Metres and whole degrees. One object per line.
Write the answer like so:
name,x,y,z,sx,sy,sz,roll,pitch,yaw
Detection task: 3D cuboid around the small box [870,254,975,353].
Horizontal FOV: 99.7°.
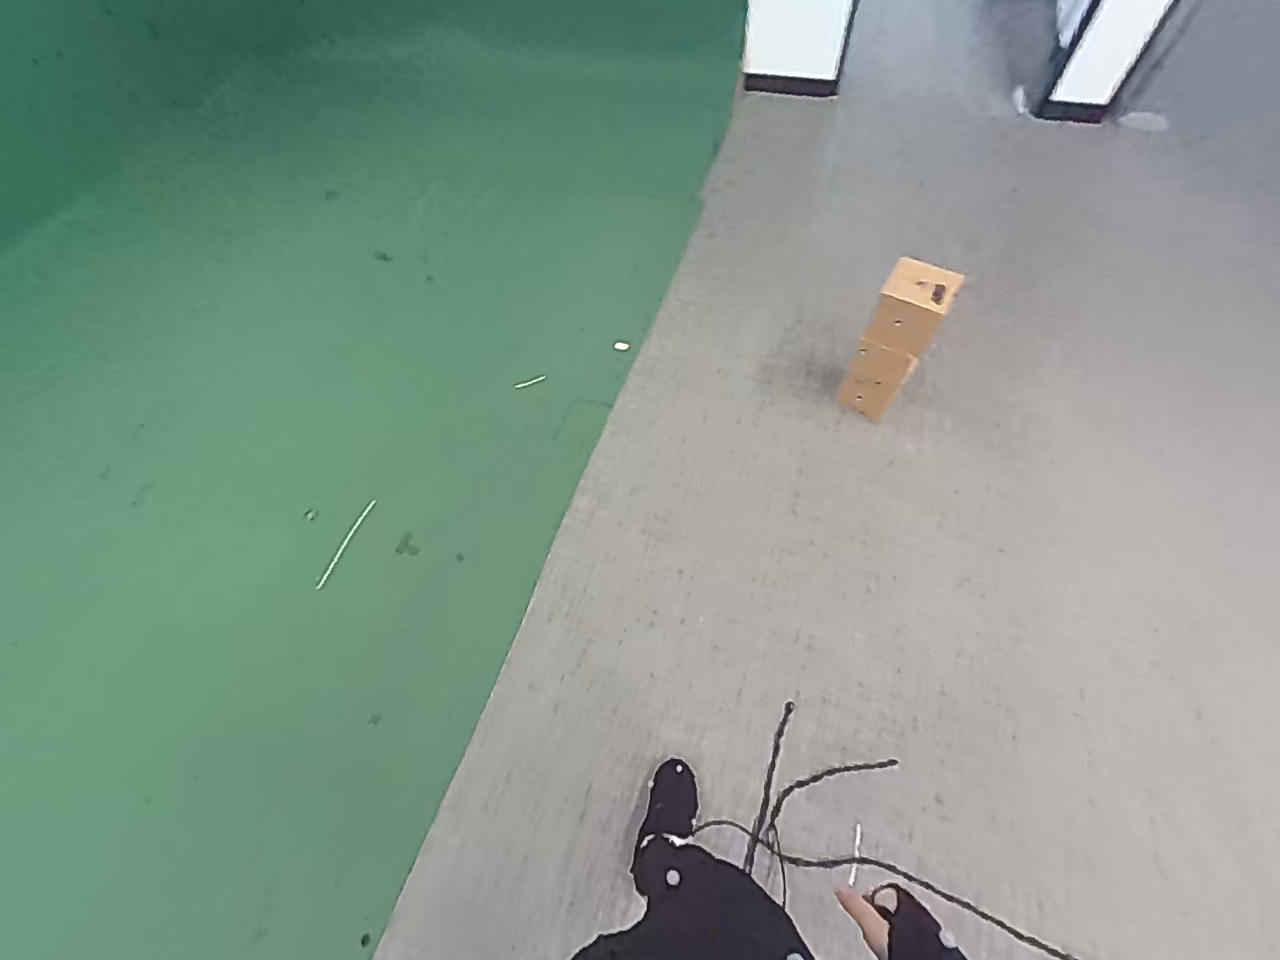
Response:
small box,0.767,-0.477,1.483,0.179,0.176,0.168,30,68,19

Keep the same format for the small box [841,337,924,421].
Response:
small box,0.786,-0.327,1.775,0.168,0.176,0.179,37,70,20
